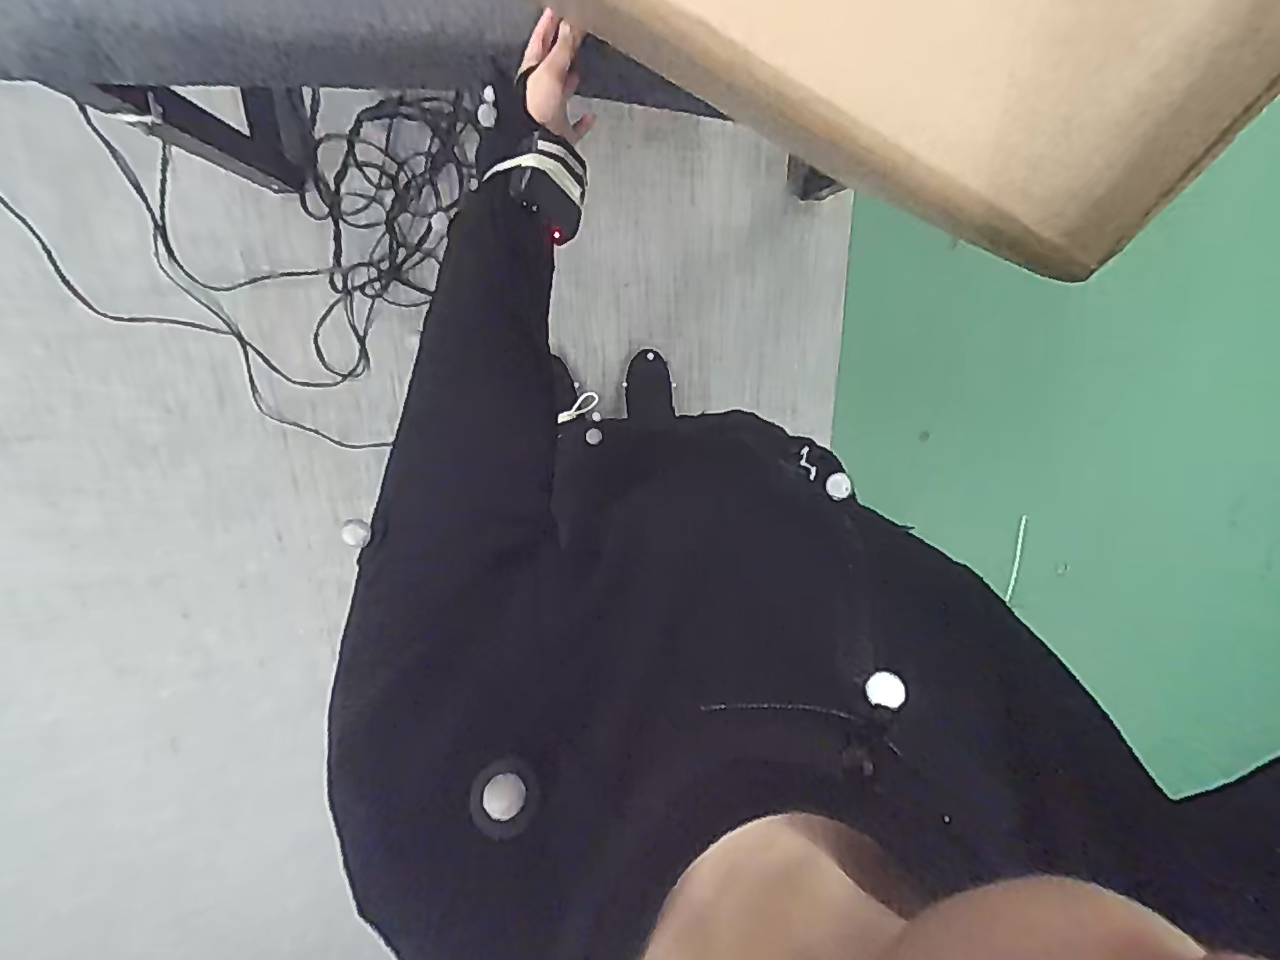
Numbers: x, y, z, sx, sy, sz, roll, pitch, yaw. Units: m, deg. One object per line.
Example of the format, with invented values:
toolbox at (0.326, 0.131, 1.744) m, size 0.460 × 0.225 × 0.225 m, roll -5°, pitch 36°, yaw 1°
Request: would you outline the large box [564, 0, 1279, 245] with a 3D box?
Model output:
large box at (0.101, -0.364, 0.250) m, size 0.320 × 0.408 × 0.320 m, roll 24°, pitch 124°, yaw -10°
